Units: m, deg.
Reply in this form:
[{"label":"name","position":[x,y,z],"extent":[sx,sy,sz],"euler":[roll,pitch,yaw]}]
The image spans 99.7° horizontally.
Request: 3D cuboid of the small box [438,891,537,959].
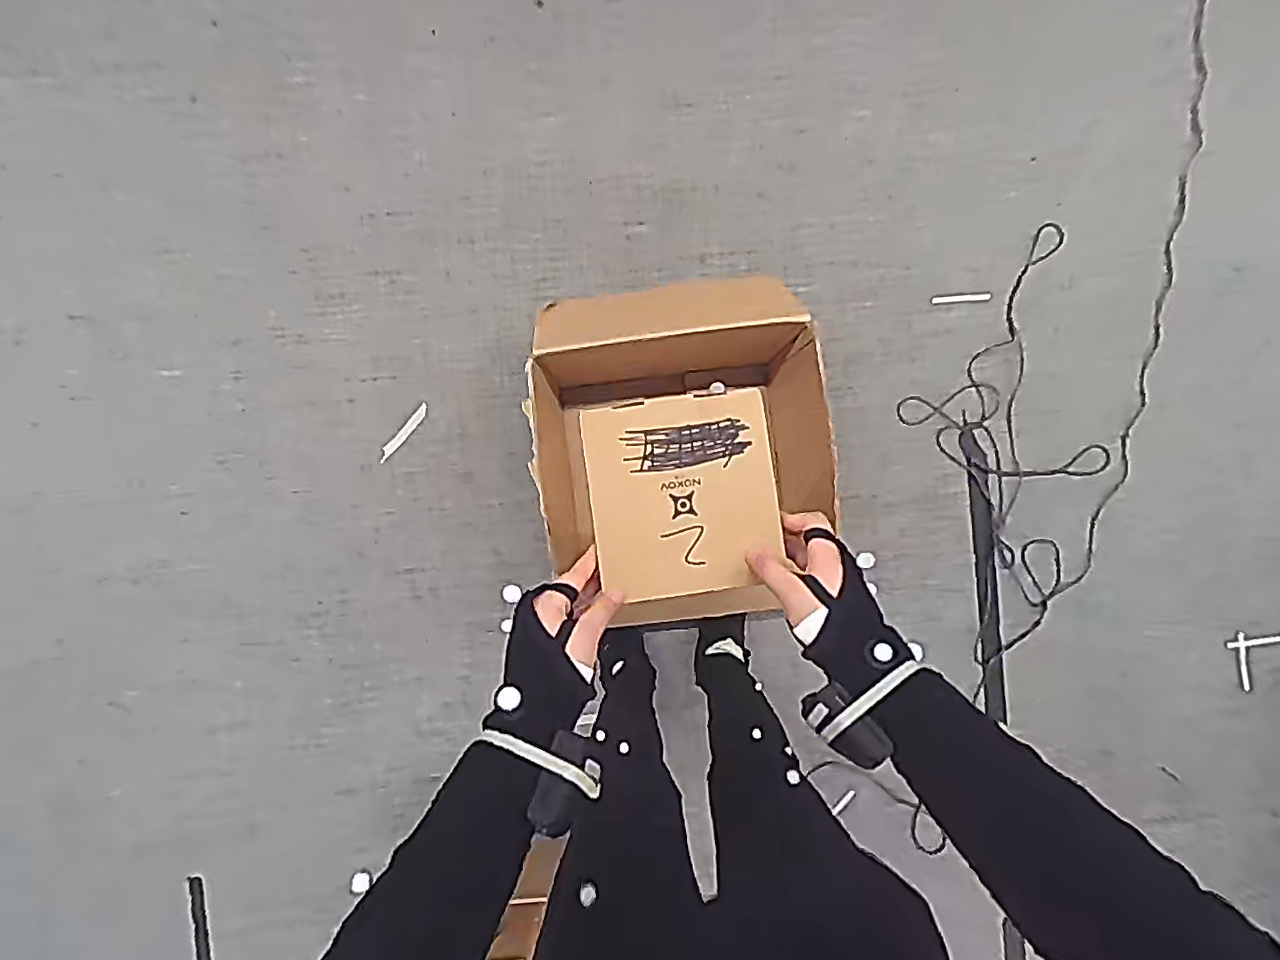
[{"label":"small box","position":[-0.303,0.978,1.098],"extent":[0.179,0.176,0.168],"euler":[-1,90,-3]}]
